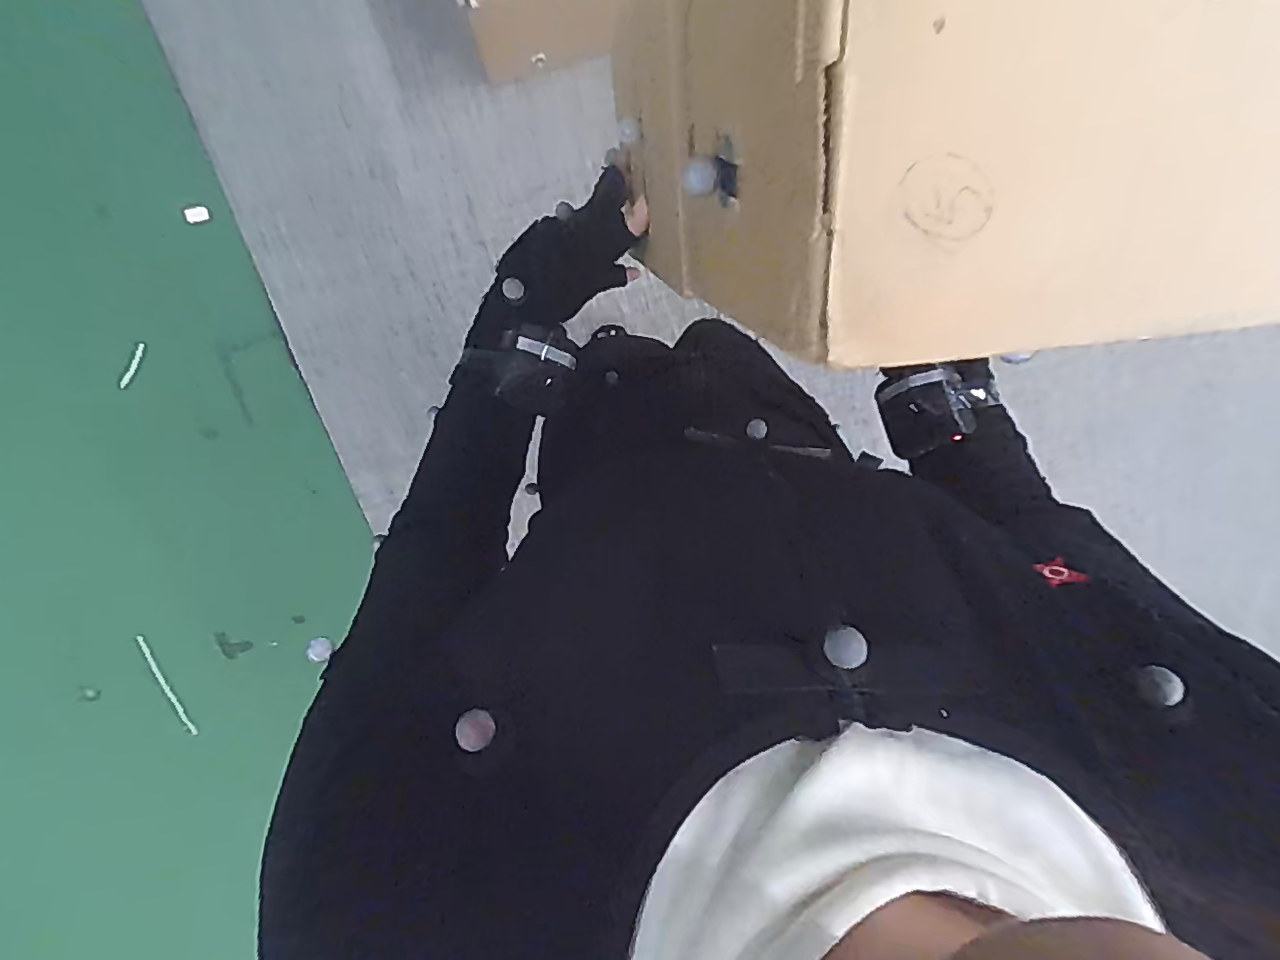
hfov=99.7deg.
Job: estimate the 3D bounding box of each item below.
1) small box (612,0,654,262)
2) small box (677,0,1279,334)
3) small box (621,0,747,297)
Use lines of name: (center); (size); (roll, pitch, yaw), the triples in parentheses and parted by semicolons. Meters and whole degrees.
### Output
small box: (0.066, -0.292, 0.460); (0.168, 0.176, 0.179); (-6, 117, -3)
small box: (0.106, -0.150, 0.168); (0.179, 0.176, 0.168); (-7, 117, -3)
small box: (0.092, -0.215, 0.316); (0.179, 0.176, 0.168); (-10, 117, -2)
